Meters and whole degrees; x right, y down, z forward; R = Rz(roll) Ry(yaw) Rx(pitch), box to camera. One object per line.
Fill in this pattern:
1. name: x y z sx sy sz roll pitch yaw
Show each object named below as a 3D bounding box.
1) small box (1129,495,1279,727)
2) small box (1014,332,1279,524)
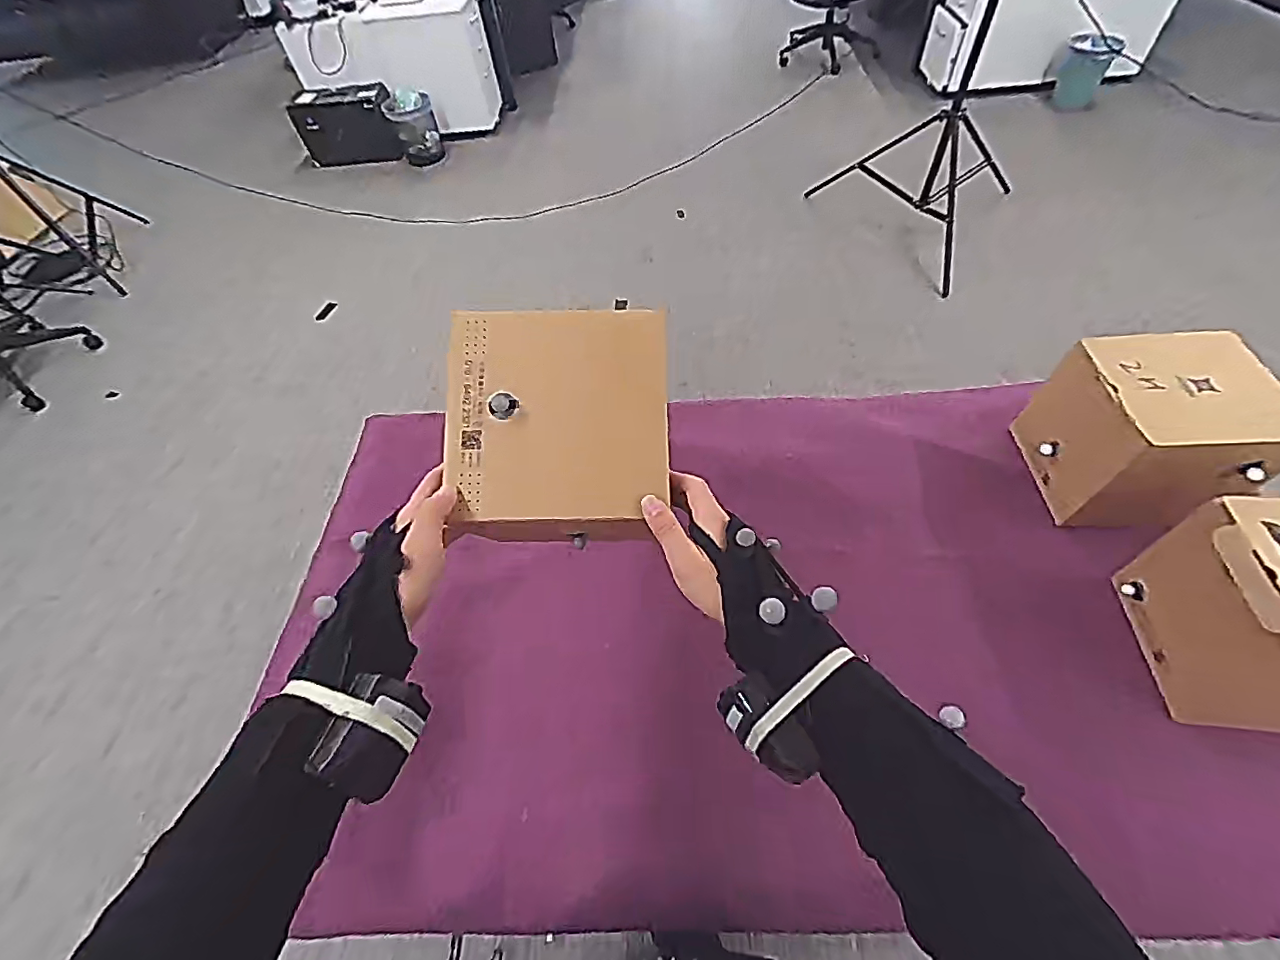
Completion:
1. small box: 0.626 0.132 0.516 0.179 0.176 0.168 3 53 7
2. small box: 0.608 -0.058 0.656 0.179 0.176 0.168 -2 55 4
